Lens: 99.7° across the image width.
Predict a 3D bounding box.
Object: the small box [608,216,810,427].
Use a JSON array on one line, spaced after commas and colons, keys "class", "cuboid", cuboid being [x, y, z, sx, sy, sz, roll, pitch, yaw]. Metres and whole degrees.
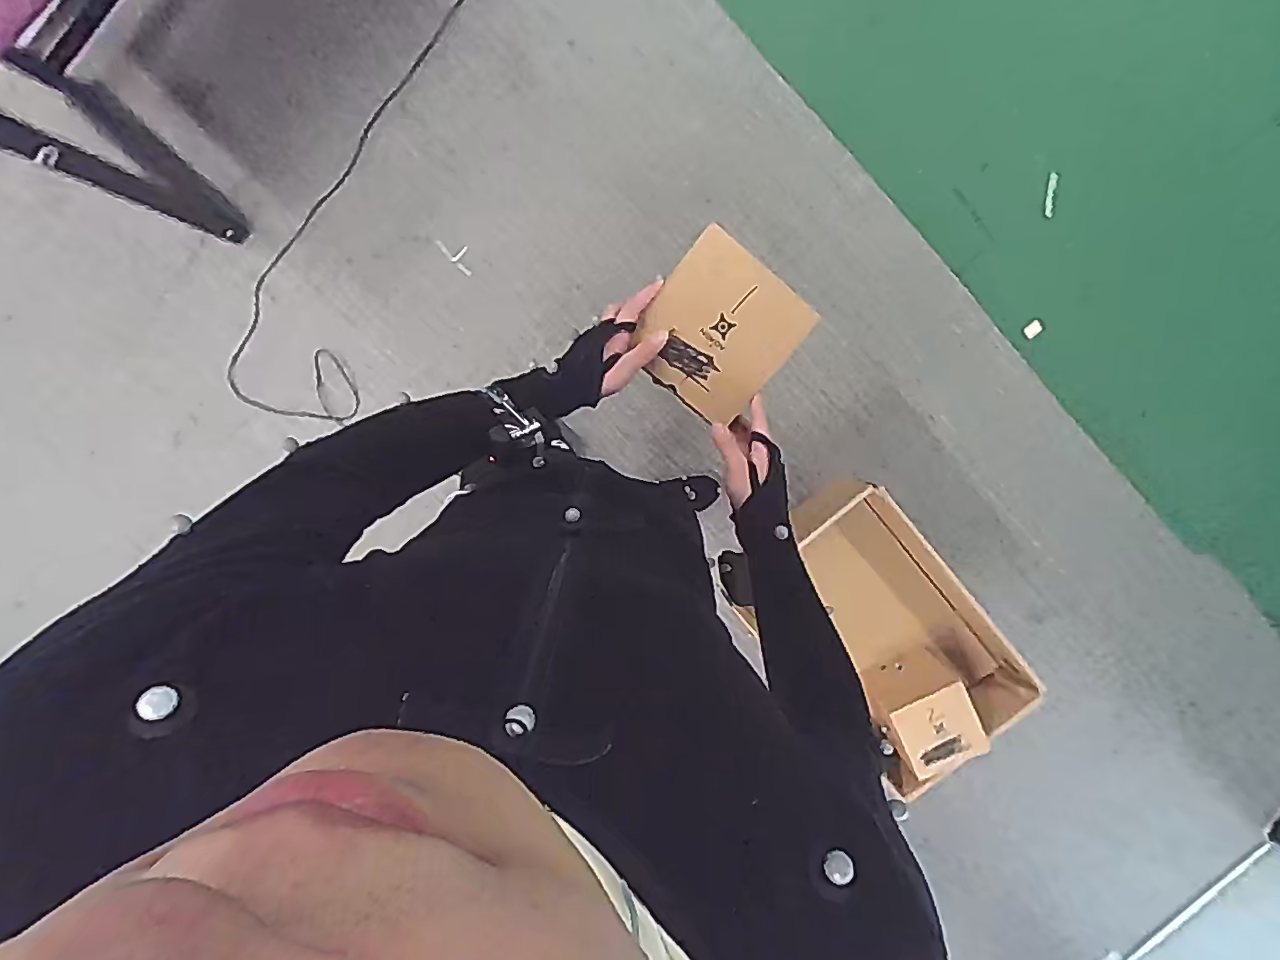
[{"class": "small box", "cuboid": [0.081, -0.197, 0.691, 0.168, 0.176, 0.179, 37, 104, -9]}]
